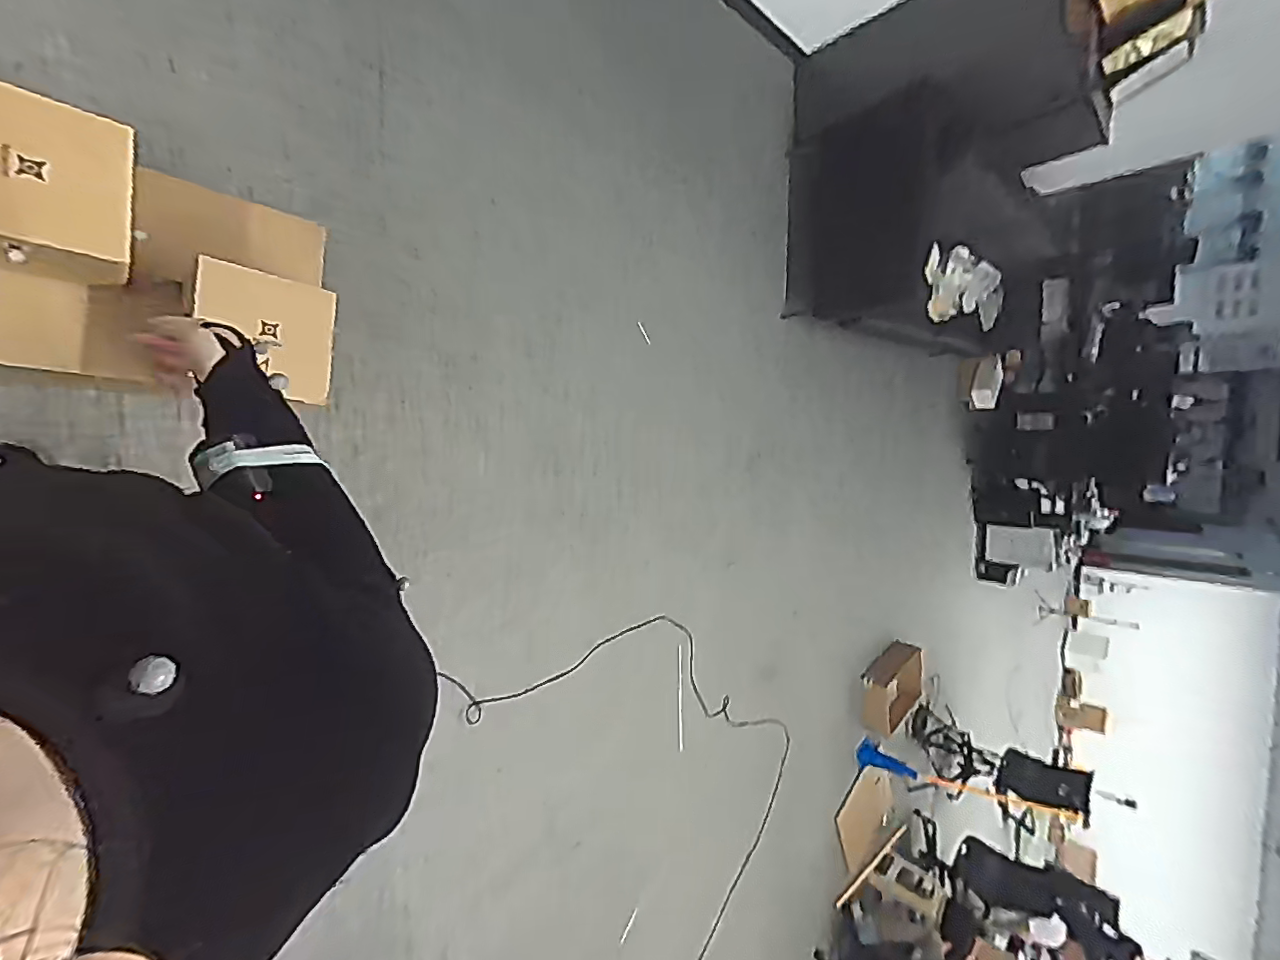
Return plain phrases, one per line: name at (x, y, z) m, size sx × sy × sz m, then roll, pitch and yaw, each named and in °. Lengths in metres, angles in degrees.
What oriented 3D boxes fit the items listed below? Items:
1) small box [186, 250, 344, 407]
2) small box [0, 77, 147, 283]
small box at (-0.569, -0.213, 0.817) m, size 0.168 × 0.176 × 0.179 m, roll 6°, pitch 88°, yaw -44°
small box at (-0.725, -0.354, 0.659) m, size 0.179 × 0.176 × 0.168 m, roll 2°, pitch 91°, yaw -43°
